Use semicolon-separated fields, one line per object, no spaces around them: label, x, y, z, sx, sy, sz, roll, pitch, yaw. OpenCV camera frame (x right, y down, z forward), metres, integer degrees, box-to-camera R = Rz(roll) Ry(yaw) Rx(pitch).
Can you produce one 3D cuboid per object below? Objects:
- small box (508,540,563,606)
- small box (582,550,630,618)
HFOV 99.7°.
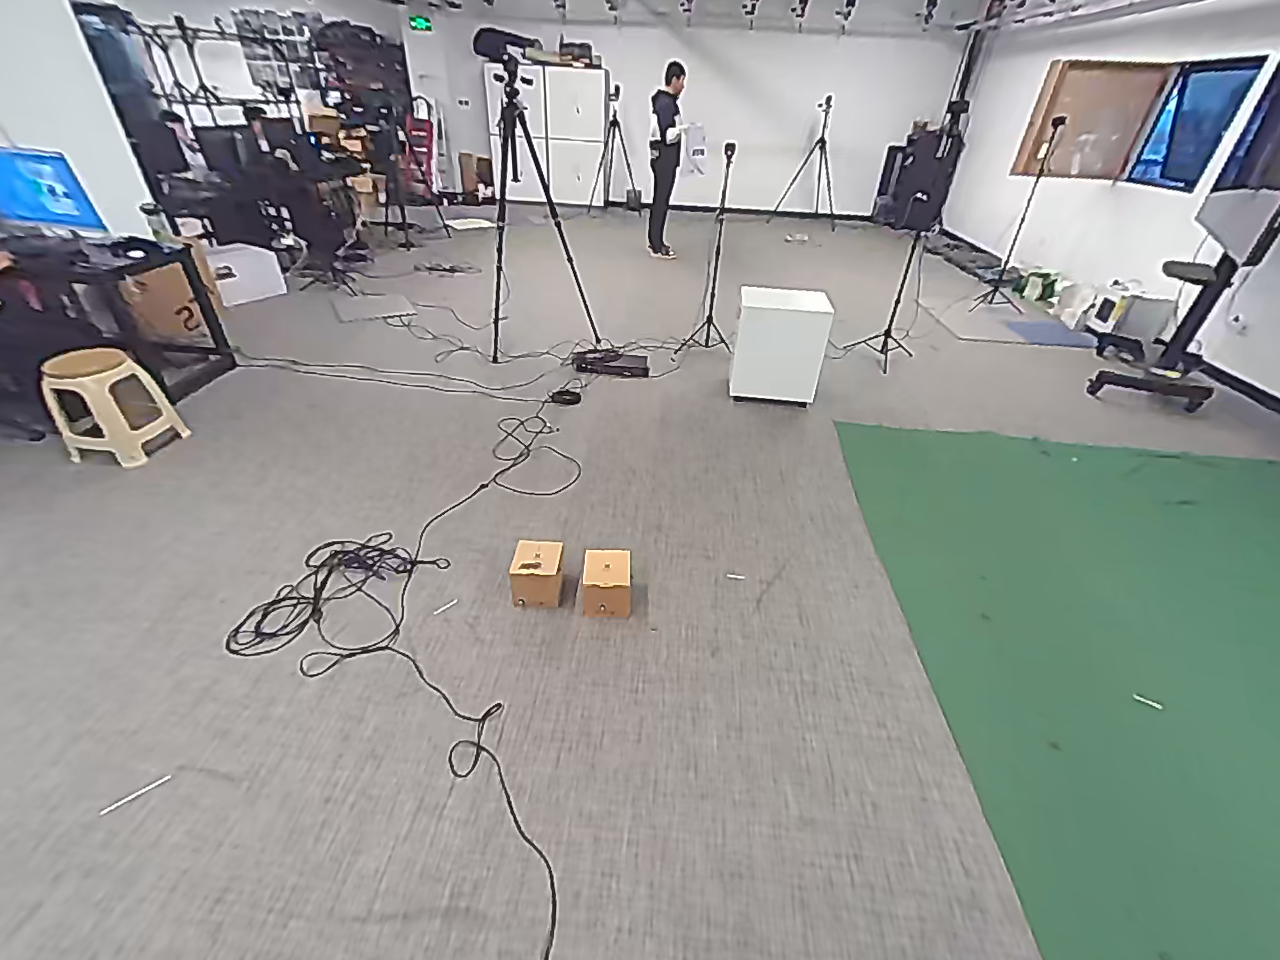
small box;-0.374;0.342;1.976;0.168;0.176;0.179;3;35;0
small box;-0.122;0.374;1.953;0.168;0.176;0.179;1;36;-2
